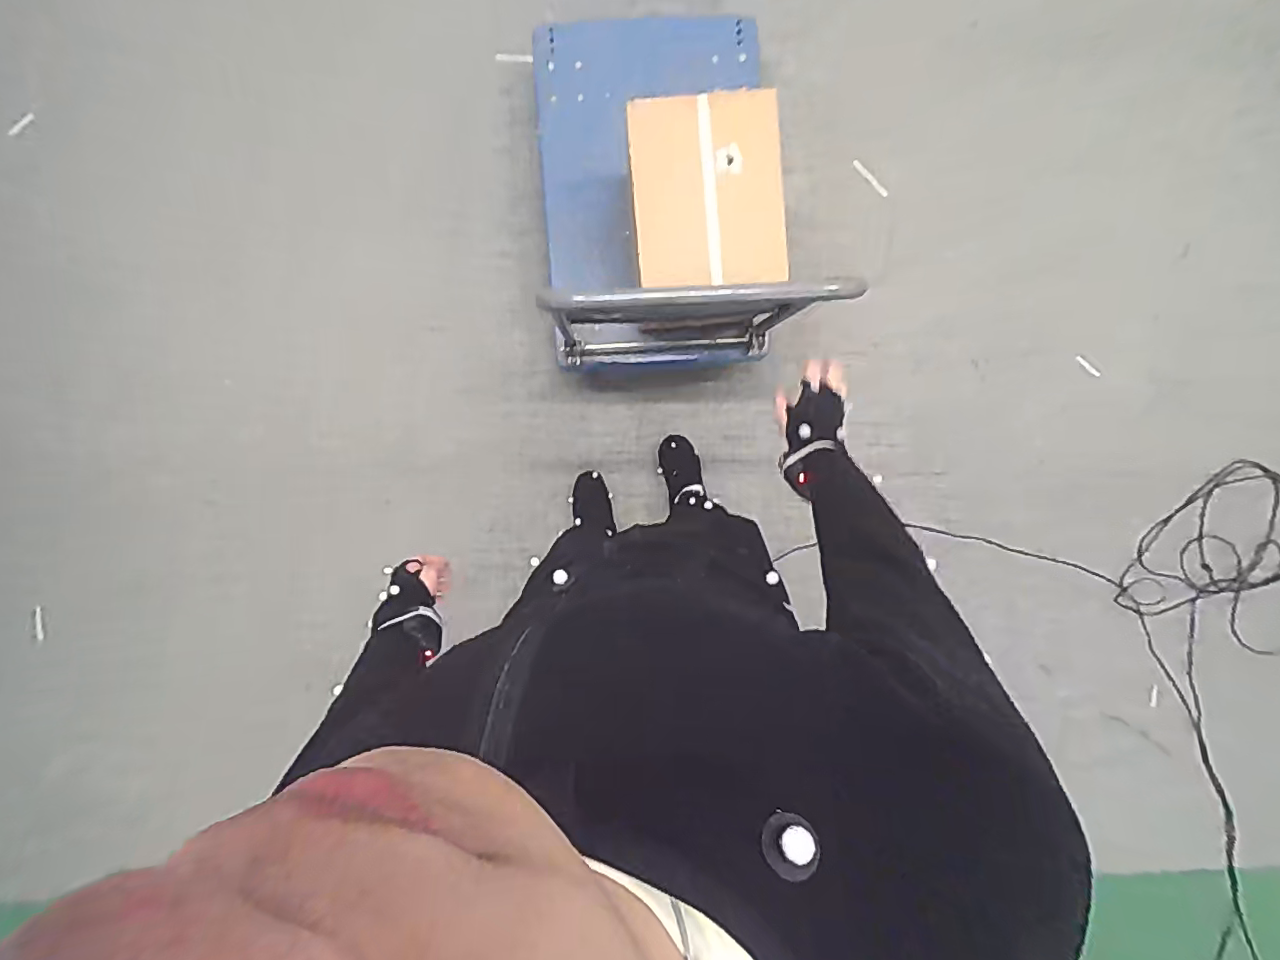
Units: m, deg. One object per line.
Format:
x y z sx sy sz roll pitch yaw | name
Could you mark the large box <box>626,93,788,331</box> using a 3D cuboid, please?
0.138 -0.597 1.275 0.320 0.320 0.408 -5 93 -2 | large box
